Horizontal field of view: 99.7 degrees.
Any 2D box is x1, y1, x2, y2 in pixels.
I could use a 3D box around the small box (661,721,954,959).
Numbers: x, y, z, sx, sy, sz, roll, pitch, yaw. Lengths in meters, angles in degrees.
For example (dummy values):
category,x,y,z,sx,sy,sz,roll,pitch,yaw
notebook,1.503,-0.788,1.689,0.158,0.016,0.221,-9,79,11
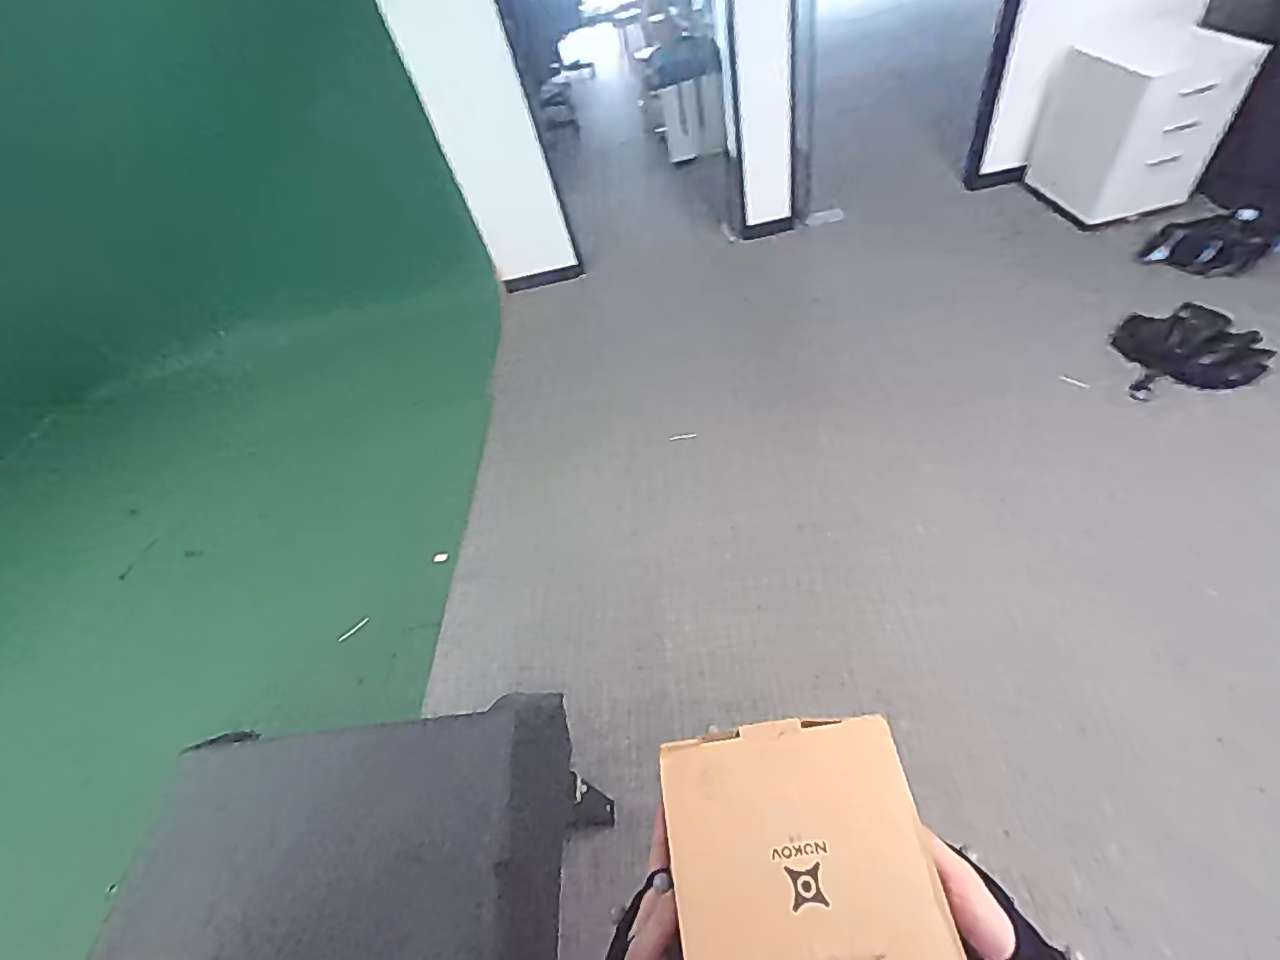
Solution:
category,x,y,z,sx,sy,sz,roll,pitch,yaw
small box,0.105,0.295,0.412,0.168,0.176,0.179,-7,60,0
